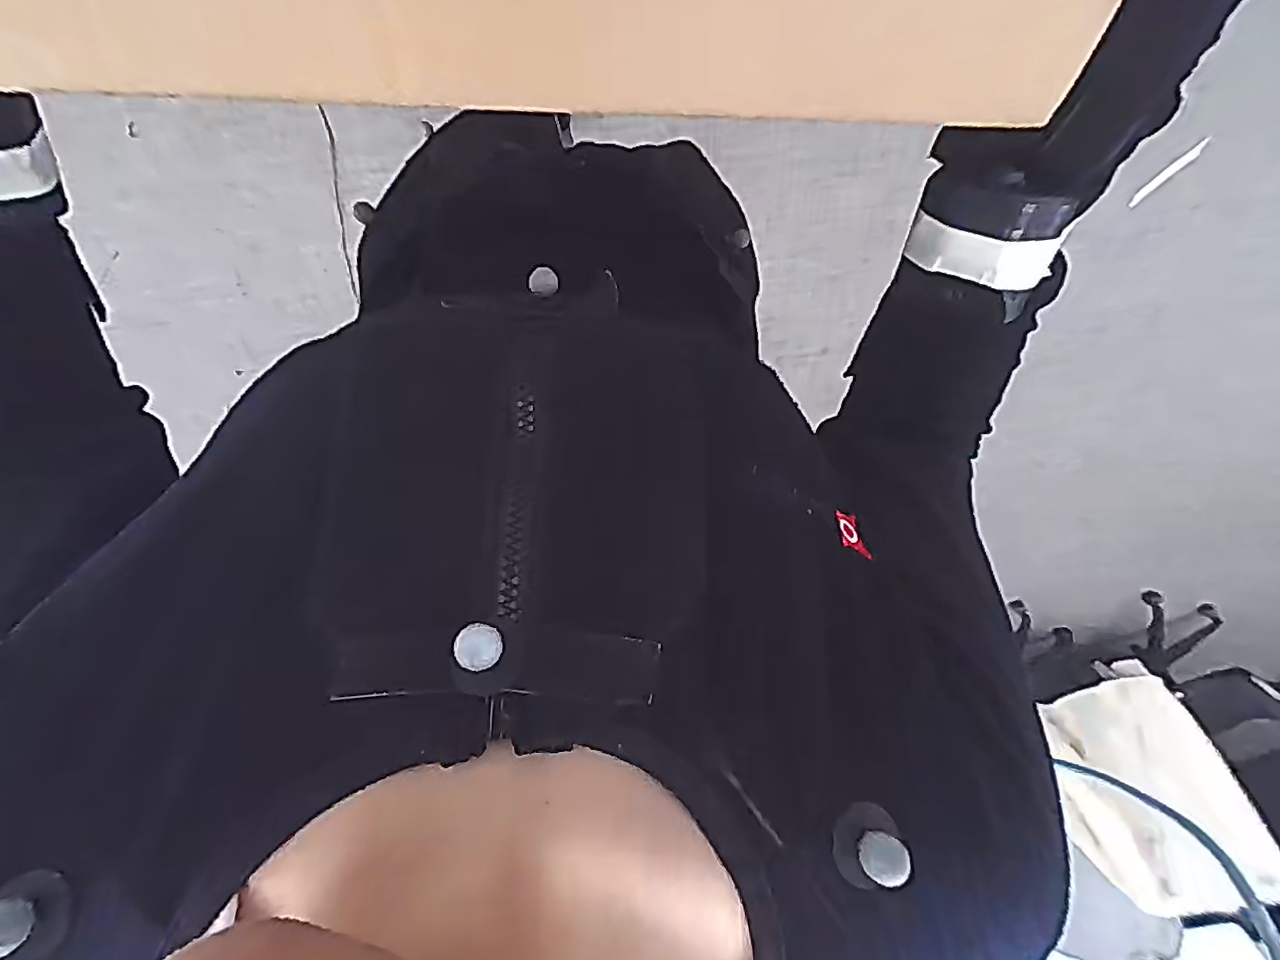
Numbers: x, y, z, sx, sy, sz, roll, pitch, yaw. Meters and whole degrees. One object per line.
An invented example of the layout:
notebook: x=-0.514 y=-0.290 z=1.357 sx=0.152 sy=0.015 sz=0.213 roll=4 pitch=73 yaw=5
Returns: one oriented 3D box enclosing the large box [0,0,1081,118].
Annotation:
large box: x=-0.048 y=-0.348 z=0.162 sx=0.408 sy=0.320 sz=0.320 roll=-3 pitch=143 yaw=-7
